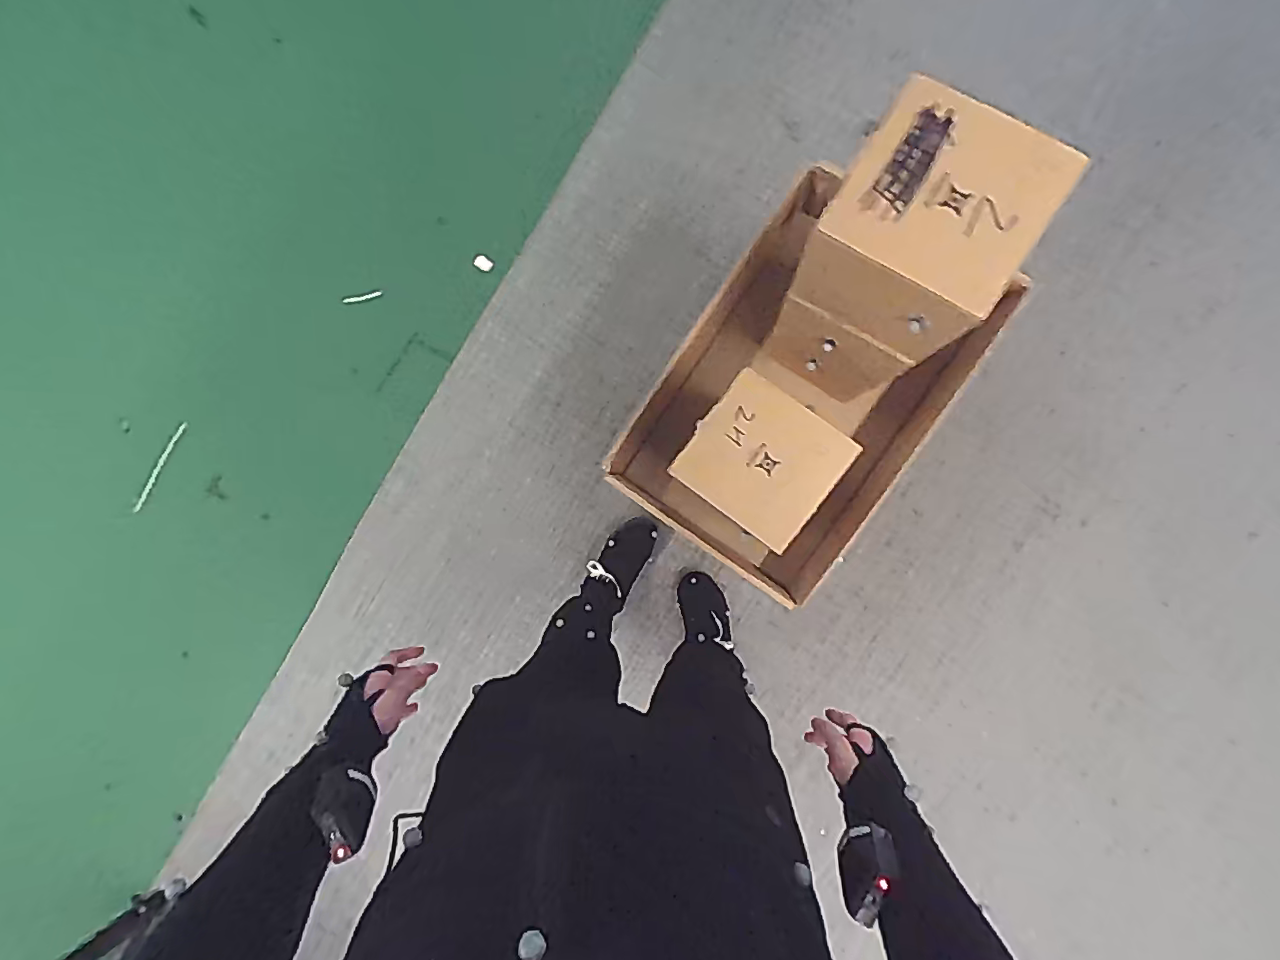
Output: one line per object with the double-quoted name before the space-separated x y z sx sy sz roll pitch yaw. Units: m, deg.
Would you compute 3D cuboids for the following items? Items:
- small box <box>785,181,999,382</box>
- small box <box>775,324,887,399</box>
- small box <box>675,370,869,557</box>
"small box" 0.317 -0.246 0.723 0.179 0.176 0.168 34 94 8
"small box" 0.343 -0.247 0.885 0.179 0.176 0.168 35 94 7
"small box" 0.169 -0.020 0.737 0.179 0.176 0.168 38 93 7
